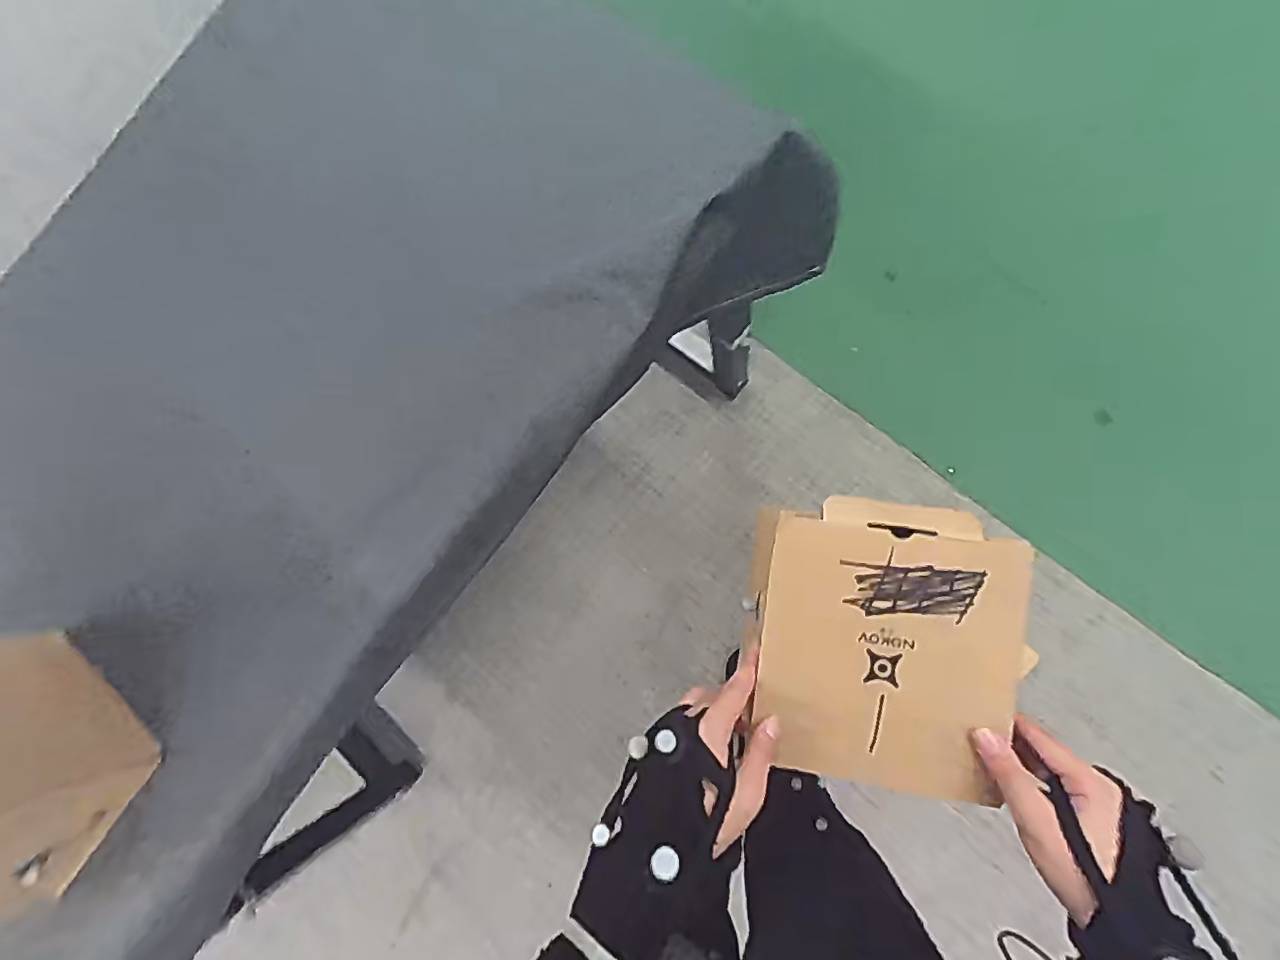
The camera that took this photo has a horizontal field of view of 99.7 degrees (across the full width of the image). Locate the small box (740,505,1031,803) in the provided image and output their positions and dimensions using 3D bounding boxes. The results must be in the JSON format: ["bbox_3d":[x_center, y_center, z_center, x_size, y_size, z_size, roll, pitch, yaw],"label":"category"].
[{"bbox_3d":[0.174,0.115,0.438,0.168,0.176,0.179,6,90,8],"label":"small box"}]

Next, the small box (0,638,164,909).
[{"bbox_3d":[-0.559,0.247,0.436,0.179,0.176,0.168,37,89,12],"label":"small box"}]
